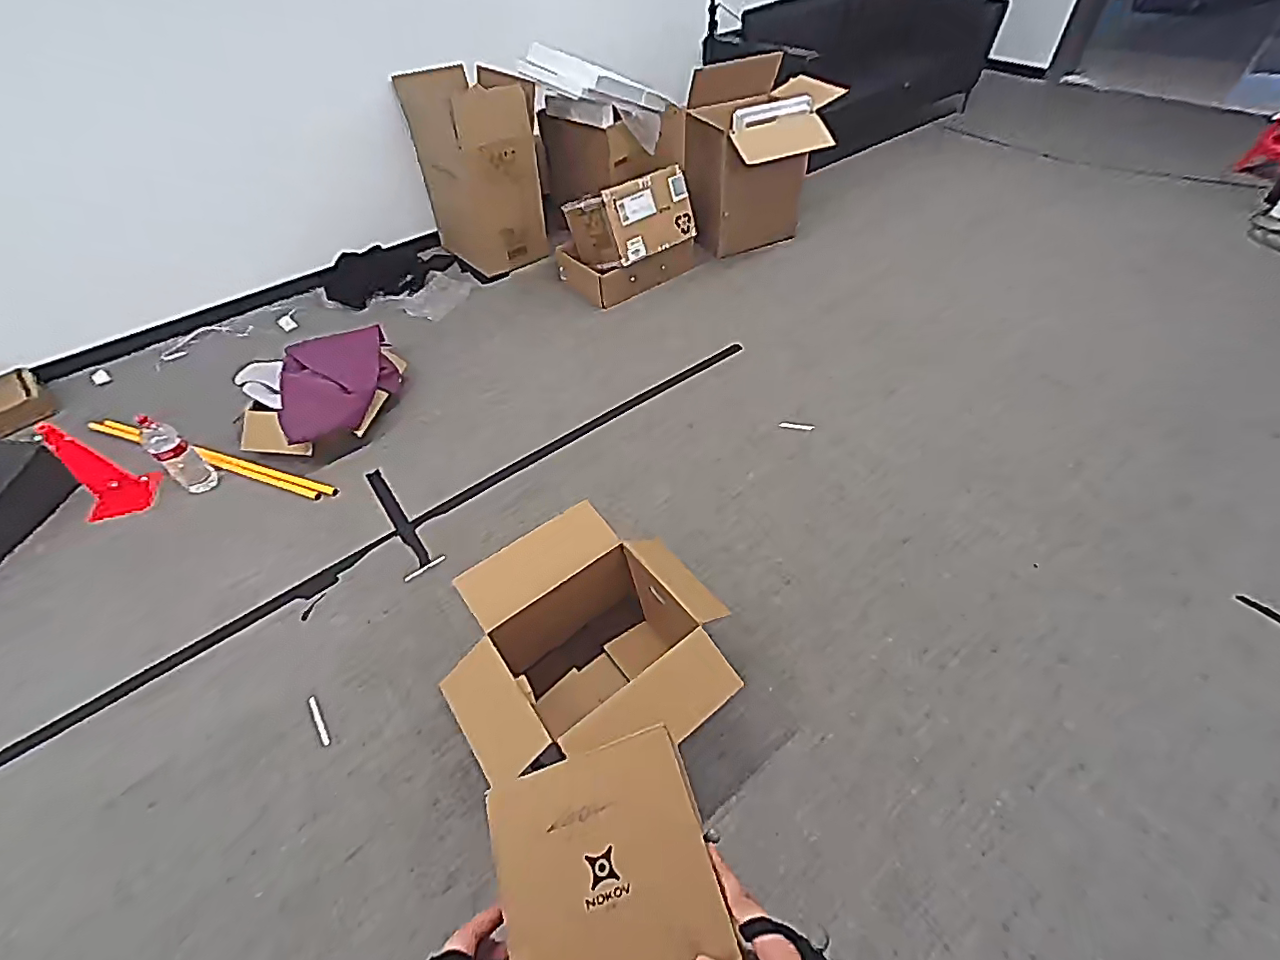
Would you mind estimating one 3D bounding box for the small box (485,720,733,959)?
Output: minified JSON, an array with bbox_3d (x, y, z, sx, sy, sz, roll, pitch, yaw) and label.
[{"bbox_3d":[-0.023,0.349,0.500,0.168,0.176,0.179,-20,57,-5],"label":"small box"}]
